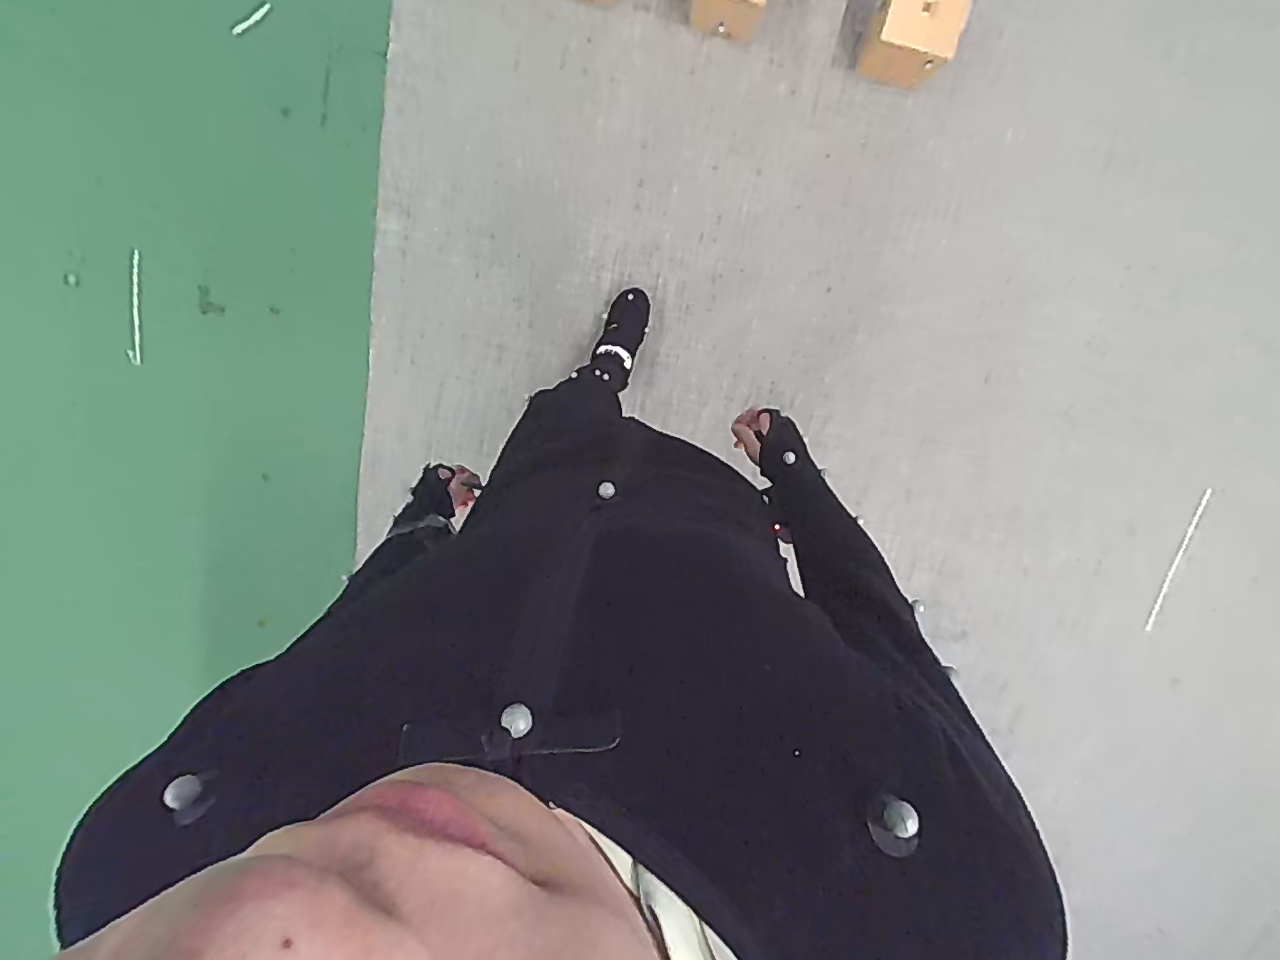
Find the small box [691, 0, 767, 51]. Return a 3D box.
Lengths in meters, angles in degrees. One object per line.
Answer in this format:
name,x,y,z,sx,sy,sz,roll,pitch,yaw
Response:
small box,0.217,-1.155,1.256,0.168,0.176,0.179,13,103,-1

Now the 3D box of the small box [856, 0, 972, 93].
small box,0.639,-1.053,1.274,0.179,0.176,0.168,13,104,-3

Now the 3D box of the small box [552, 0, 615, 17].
small box,-0.132,-1.231,1.245,0.168,0.176,0.179,11,102,-1
